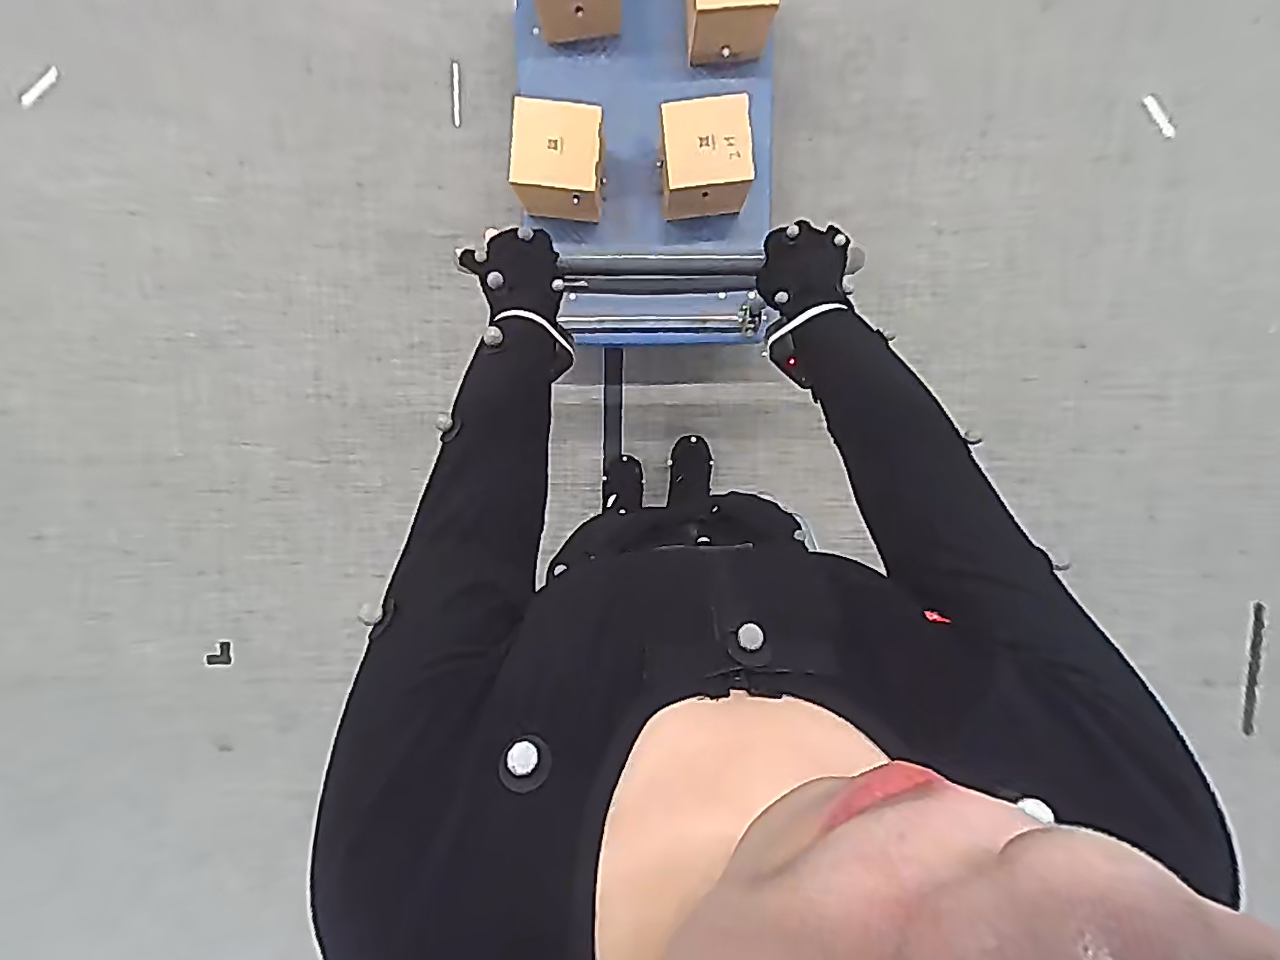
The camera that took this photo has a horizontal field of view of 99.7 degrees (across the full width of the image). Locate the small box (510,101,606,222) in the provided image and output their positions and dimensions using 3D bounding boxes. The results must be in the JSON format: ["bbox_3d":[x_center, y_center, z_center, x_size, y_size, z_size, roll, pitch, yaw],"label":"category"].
[{"bbox_3d":[-0.170,-0.677,1.167,0.179,0.176,0.168,5,96,-2],"label":"small box"}]

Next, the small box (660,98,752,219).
[{"bbox_3d":[0.136,-0.681,1.166,0.179,0.176,0.168,-6,96,1],"label":"small box"}]

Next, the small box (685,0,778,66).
[{"bbox_3d":[0.185,-1.014,1.130,0.168,0.176,0.179,-4,97,1],"label":"small box"}]
